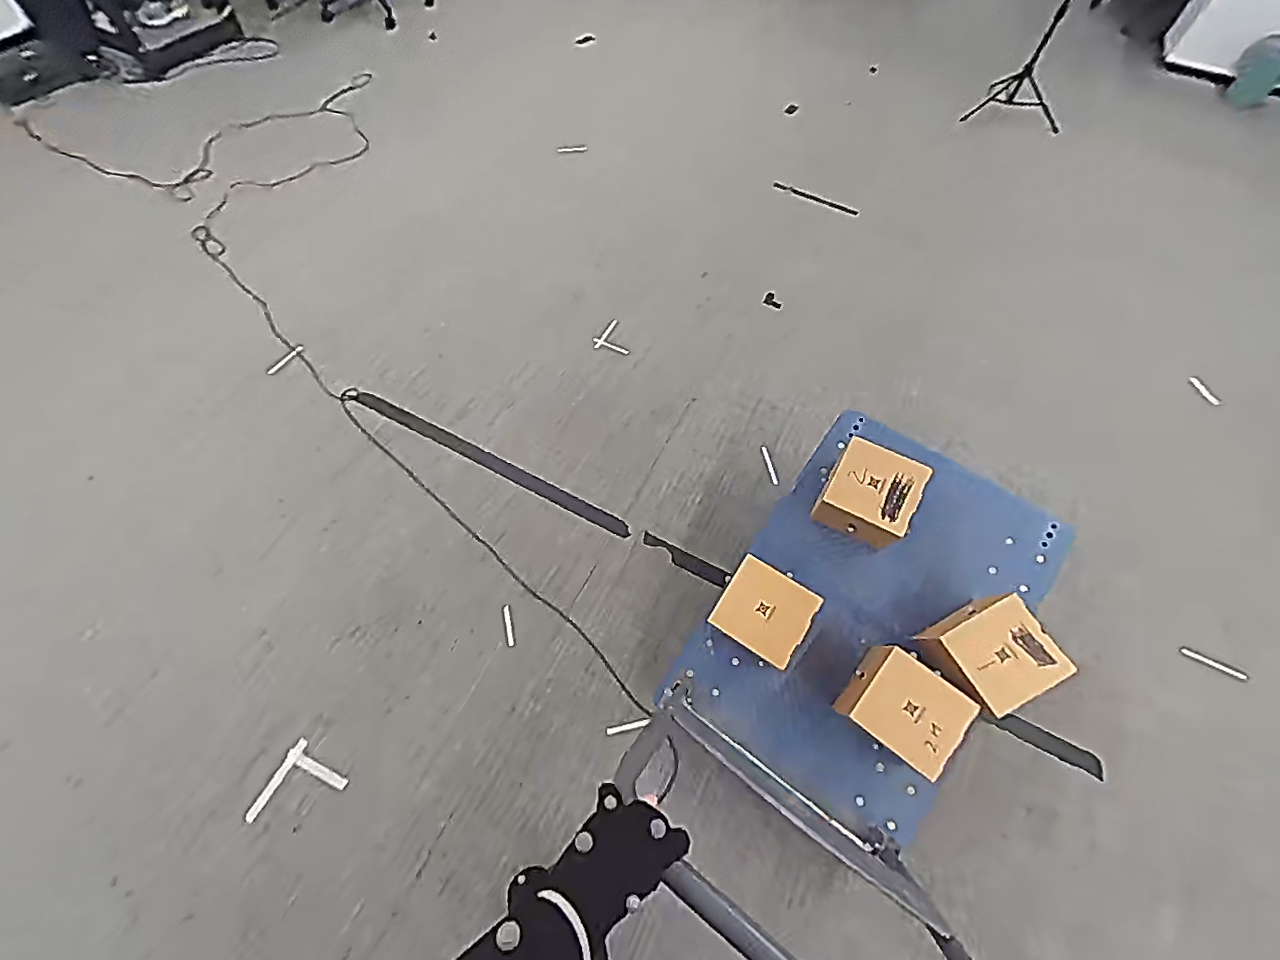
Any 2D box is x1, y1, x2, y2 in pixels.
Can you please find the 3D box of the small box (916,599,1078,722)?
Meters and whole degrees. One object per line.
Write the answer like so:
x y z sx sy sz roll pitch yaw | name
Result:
0.692 0.353 1.074 0.179 0.176 0.168 -28 71 -1 | small box

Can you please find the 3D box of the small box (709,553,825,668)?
0.262 0.282 1.158 0.179 0.176 0.168 32 79 14 | small box

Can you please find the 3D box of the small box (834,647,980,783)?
0.512 0.453 1.068 0.179 0.176 0.168 38 82 17 | small box
